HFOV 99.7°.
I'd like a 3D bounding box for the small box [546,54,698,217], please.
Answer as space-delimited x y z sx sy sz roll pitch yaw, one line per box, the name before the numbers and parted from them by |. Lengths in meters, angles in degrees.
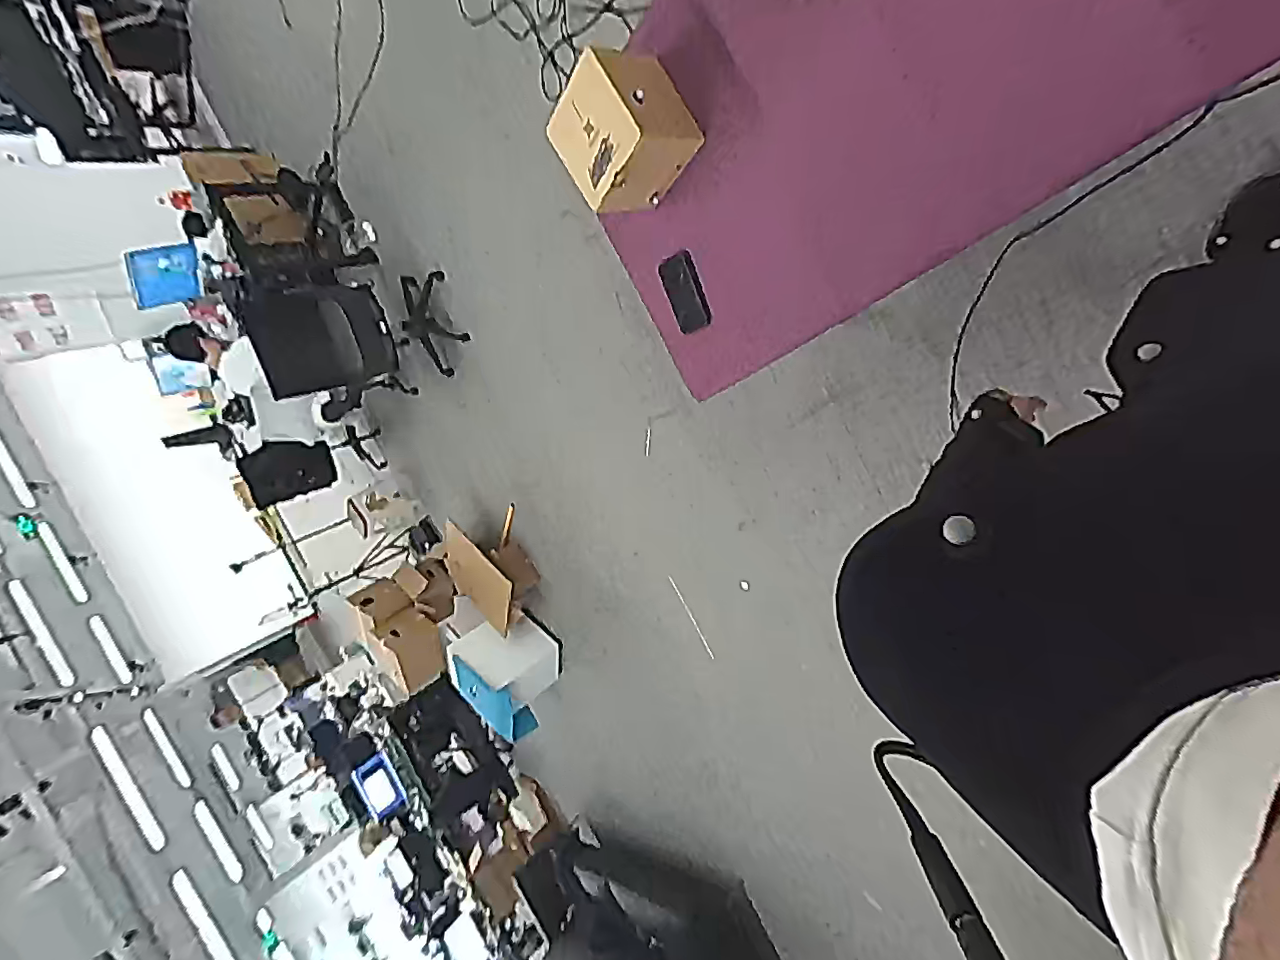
small box | -0.029 -0.598 0.956 0.168 0.176 0.179 -33 86 49
